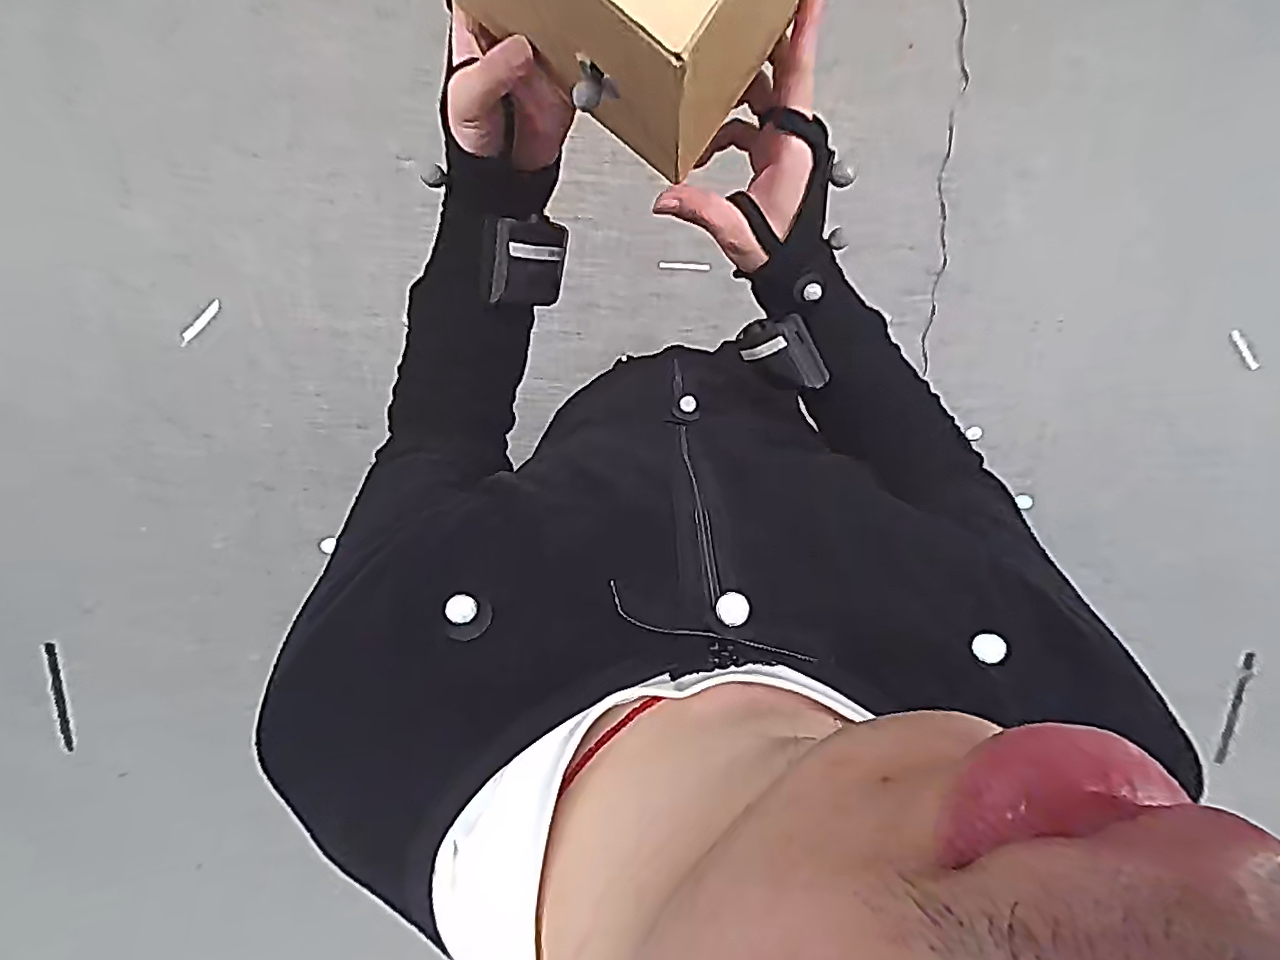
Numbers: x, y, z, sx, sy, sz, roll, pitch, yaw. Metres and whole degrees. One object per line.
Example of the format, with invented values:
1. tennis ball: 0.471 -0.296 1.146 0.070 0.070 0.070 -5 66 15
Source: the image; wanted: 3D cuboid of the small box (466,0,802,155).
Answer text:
1. small box: 0.001 -0.272 0.225 0.179 0.176 0.168 36 105 -7
